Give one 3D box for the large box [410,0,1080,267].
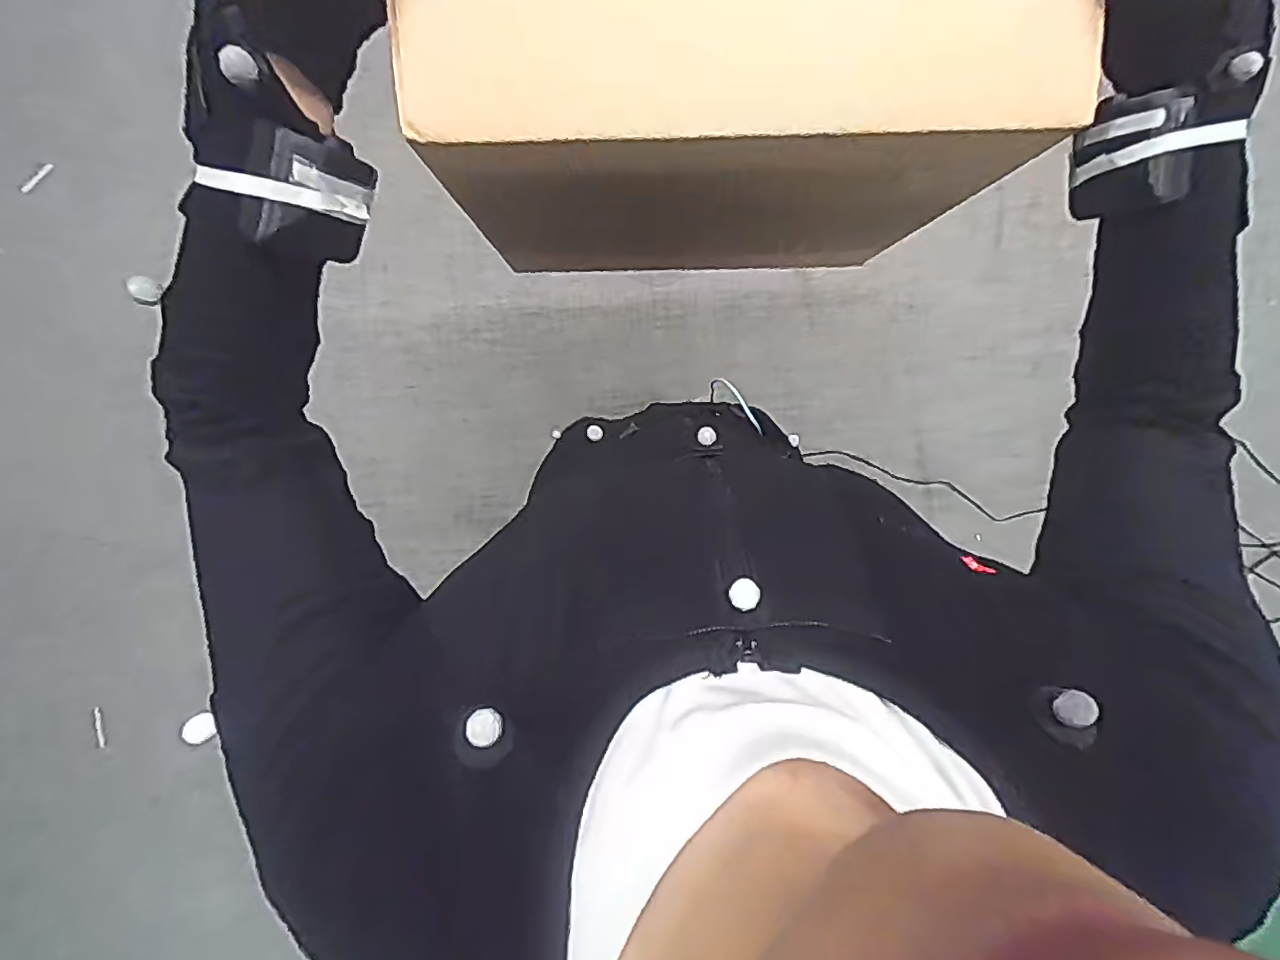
[{"bbox_3d":[0.054,-0.384,0.455,0.408,0.320,0.320,-2,98,-1],"label":"large box"}]
